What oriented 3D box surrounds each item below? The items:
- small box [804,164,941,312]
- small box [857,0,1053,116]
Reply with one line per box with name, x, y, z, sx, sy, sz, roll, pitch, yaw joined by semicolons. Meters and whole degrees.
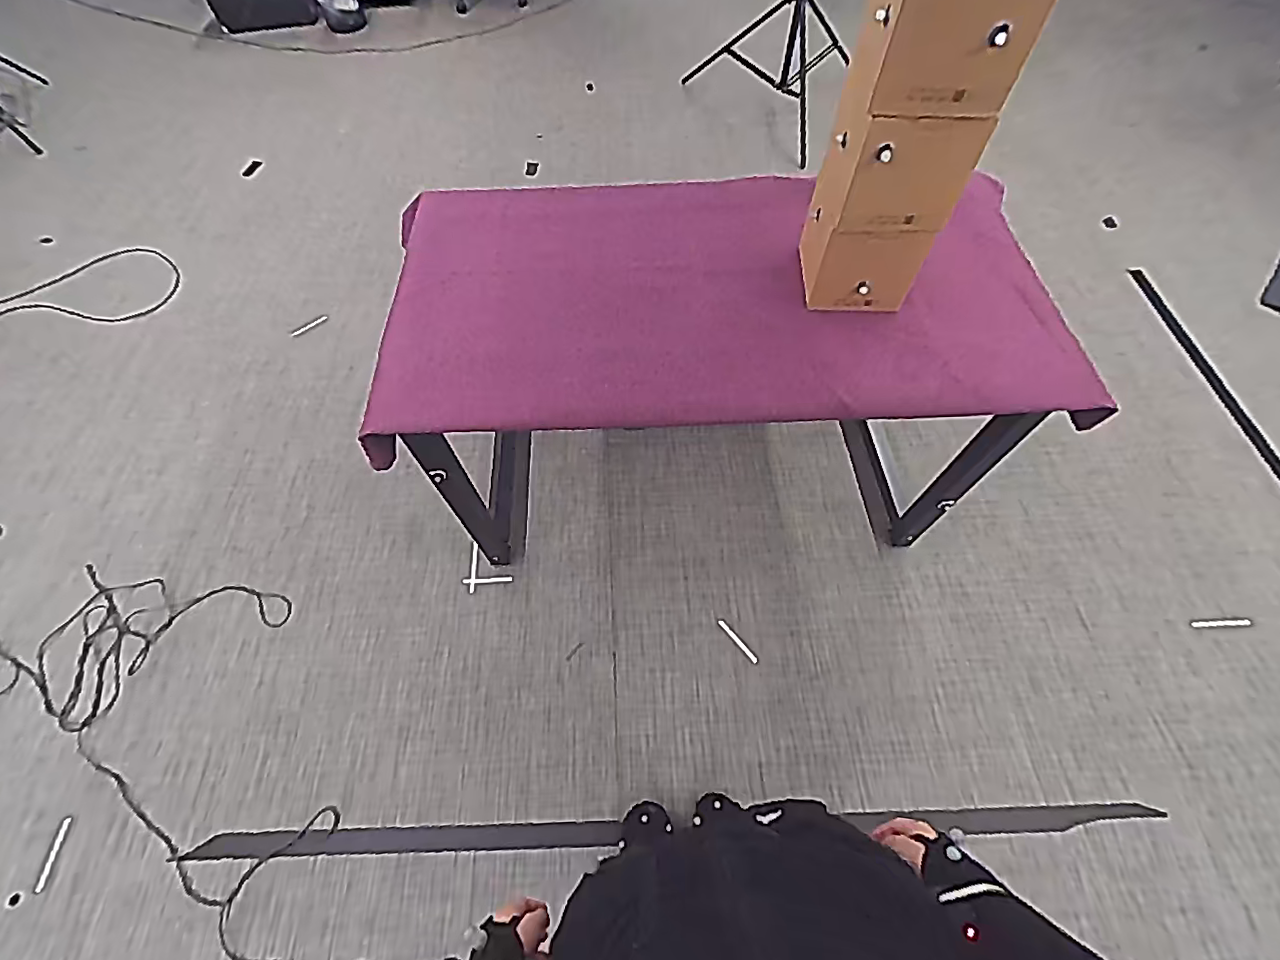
small box;0.392;-0.422;0.949;0.168;0.176;0.179;2;61;3
small box;0.381;-0.577;0.662;0.168;0.176;0.179;4;60;3
